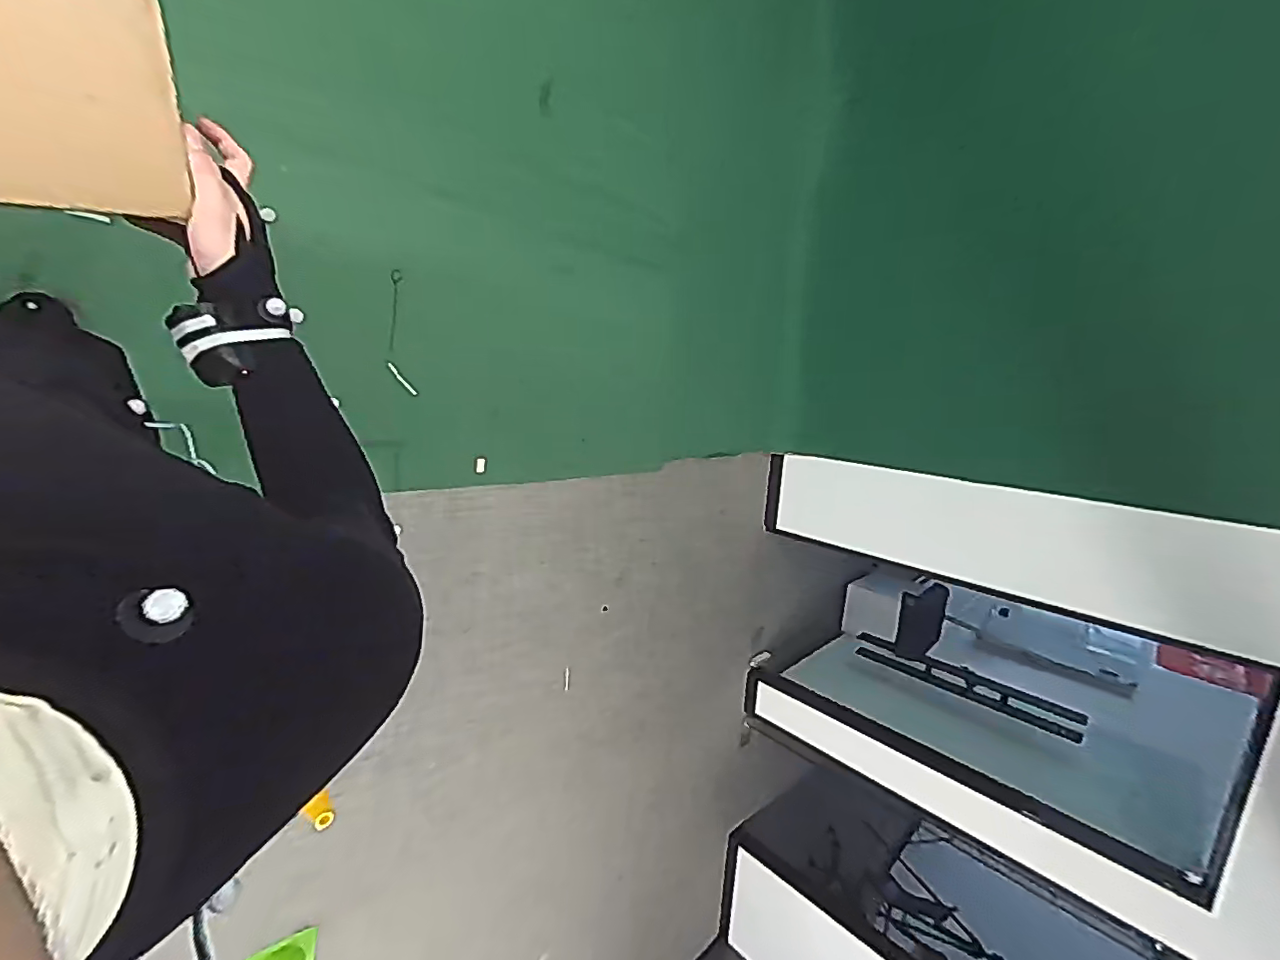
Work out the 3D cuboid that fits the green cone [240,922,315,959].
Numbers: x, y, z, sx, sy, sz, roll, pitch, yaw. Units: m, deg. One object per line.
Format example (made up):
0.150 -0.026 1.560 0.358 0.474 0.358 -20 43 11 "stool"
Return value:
-1.001 1.527 1.549 0.200 0.368 0.202 2 98 -46 "green cone"
